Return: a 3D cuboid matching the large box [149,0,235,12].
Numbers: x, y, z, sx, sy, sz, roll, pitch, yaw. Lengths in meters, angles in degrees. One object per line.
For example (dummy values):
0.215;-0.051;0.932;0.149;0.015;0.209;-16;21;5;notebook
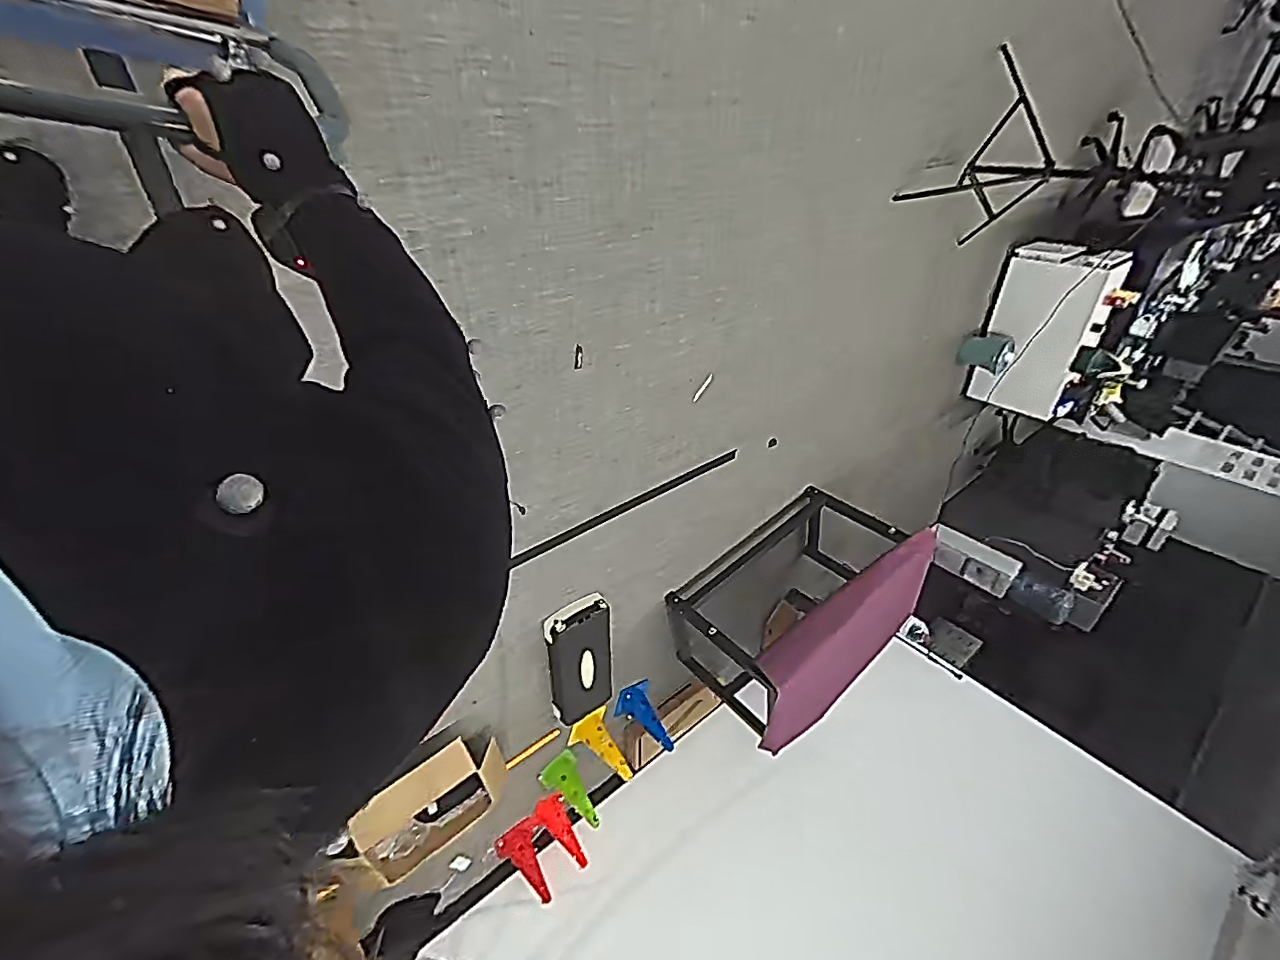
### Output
-0.739;-0.763;0.587;0.408;0.320;0.320;-16;132;-38;large box
